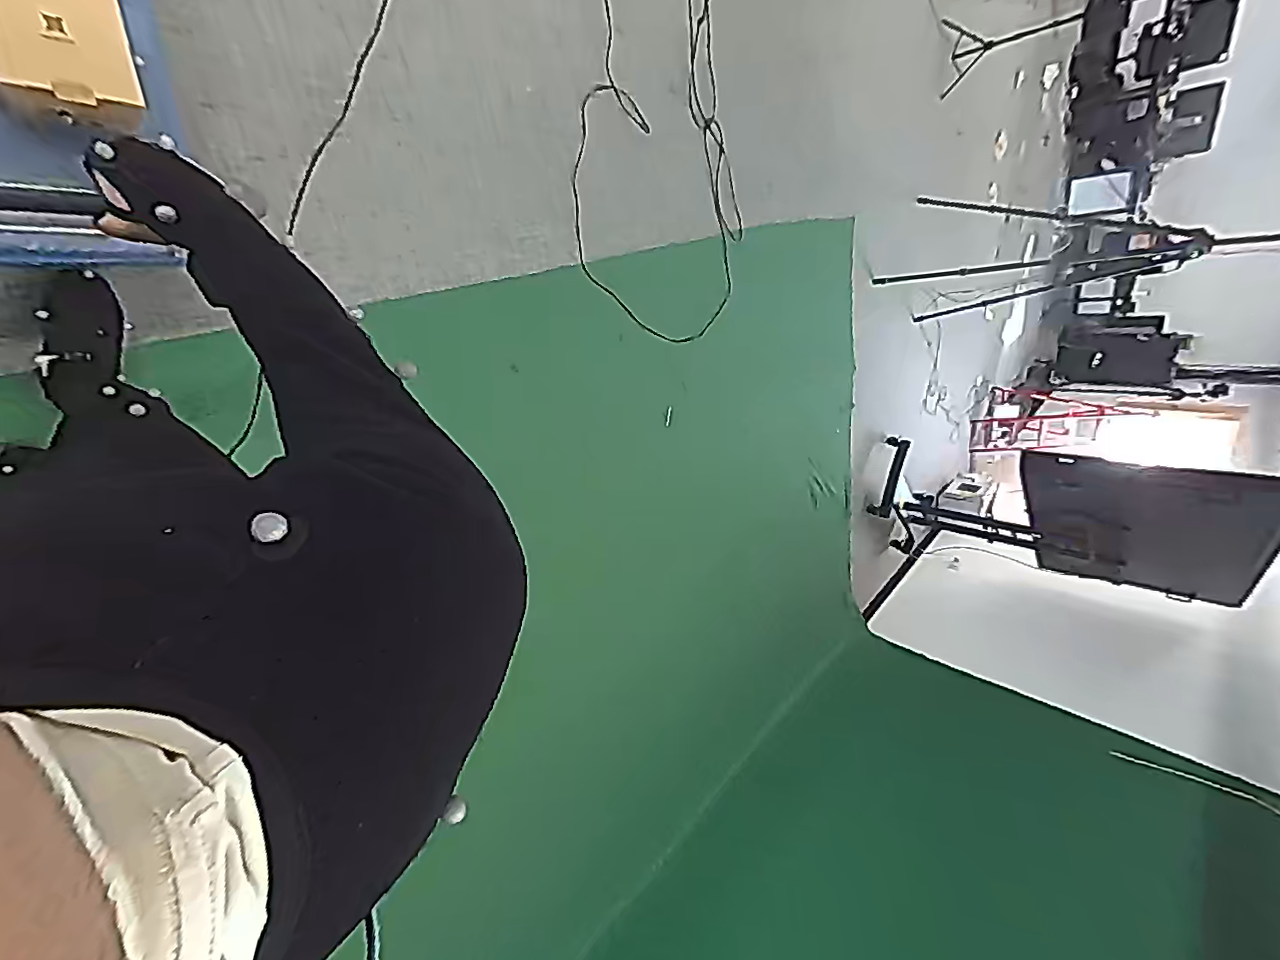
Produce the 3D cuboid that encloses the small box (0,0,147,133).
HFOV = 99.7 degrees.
[{"bbox_3d":[-0.919,-0.680,0.853,0.168,0.176,0.179,-20,115,-41],"label":"small box"}]
